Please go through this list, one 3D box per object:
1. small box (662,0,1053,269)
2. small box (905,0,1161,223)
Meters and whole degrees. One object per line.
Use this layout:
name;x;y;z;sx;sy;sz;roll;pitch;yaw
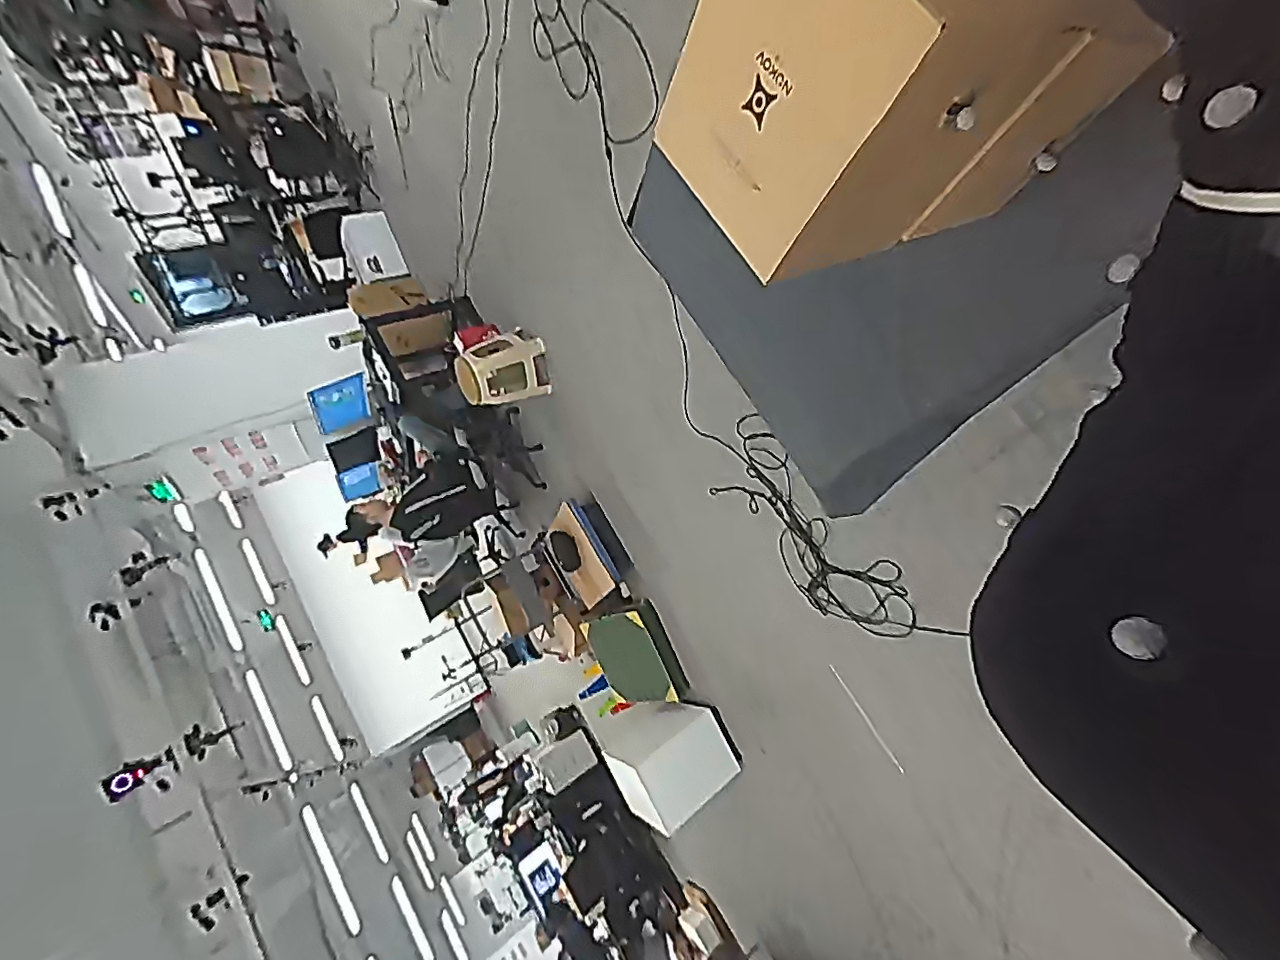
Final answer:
small box;0.150;-0.292;0.392;0.168;0.176;0.179;58;152;13
small box;0.279;-0.356;0.465;0.179;0.176;0.168;58;151;11
